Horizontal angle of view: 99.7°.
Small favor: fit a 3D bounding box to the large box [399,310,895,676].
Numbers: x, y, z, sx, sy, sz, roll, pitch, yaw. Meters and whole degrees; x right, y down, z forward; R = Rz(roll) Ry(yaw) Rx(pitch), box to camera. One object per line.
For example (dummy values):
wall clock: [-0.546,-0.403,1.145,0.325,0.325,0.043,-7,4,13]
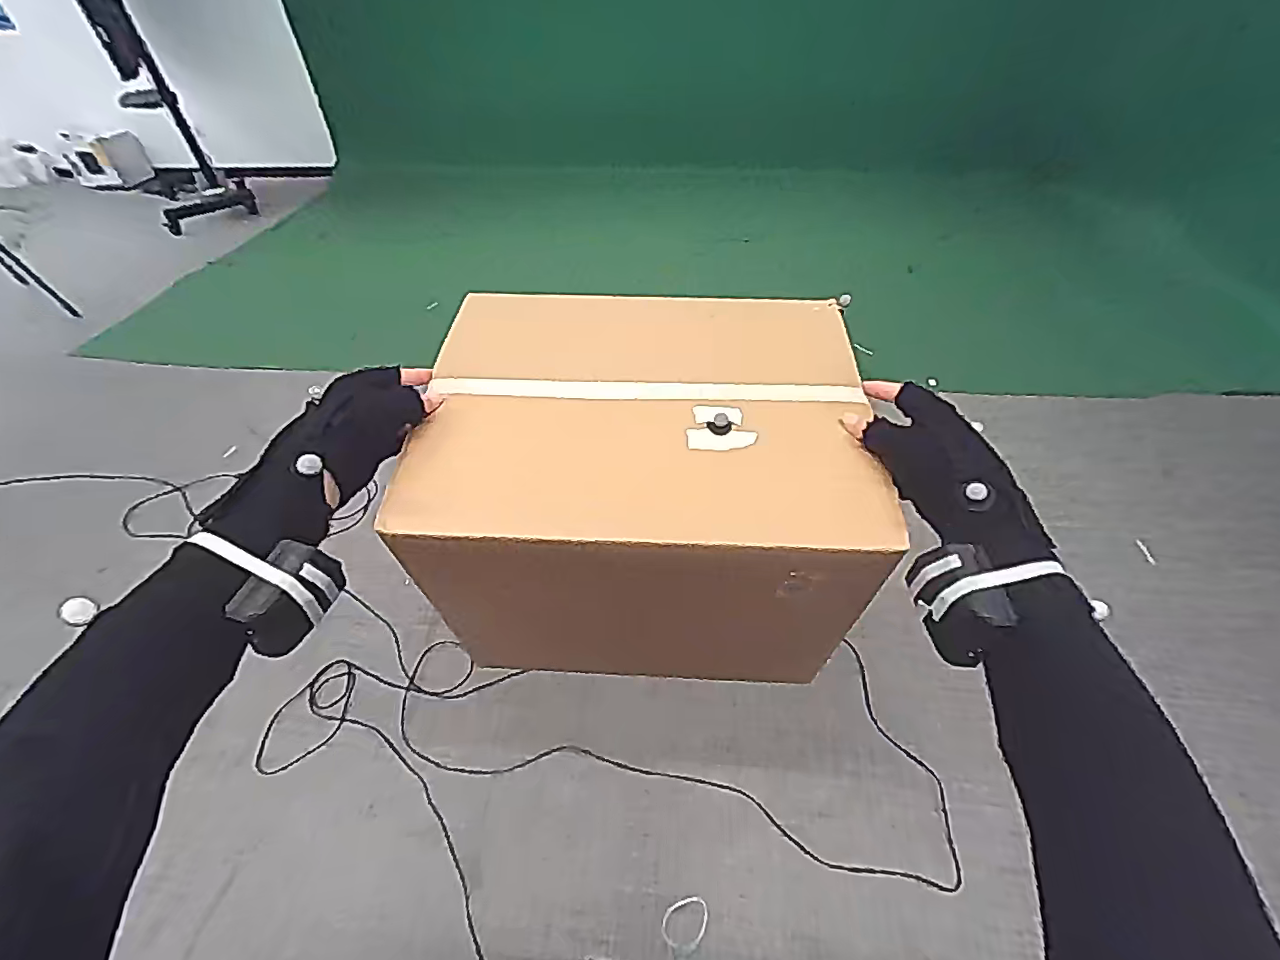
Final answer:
large box: [0.007,0.022,0.633,0.408,0.320,0.320,2,52,2]
